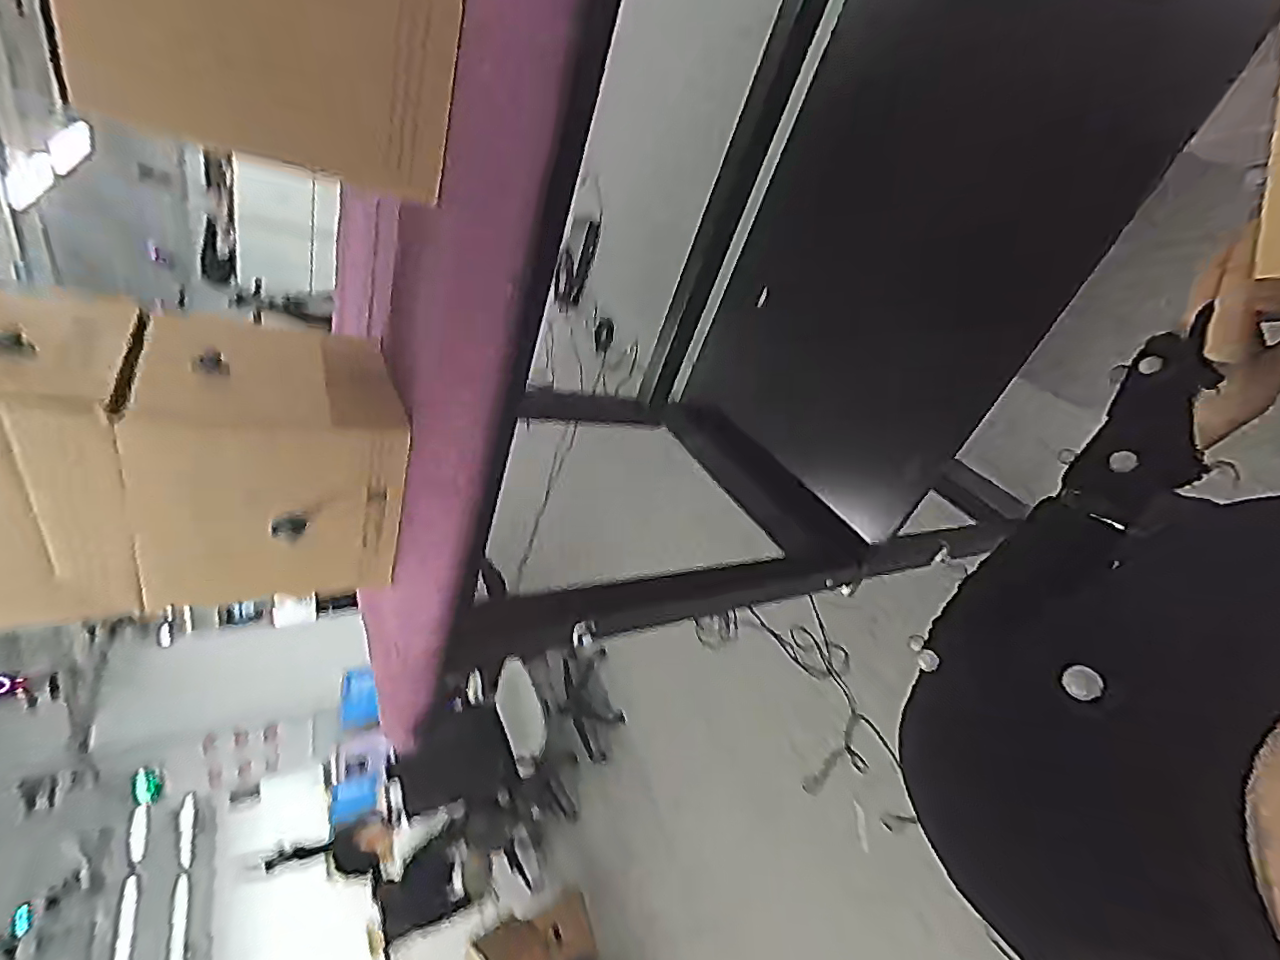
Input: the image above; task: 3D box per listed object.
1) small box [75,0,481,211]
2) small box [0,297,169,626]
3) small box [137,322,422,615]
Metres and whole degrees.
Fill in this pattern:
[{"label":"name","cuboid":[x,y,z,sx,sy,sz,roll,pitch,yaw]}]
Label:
[{"label":"small box","cuboid":[-0.196,-0.282,0.310,0.168,0.176,0.179,50,132,42]},{"label":"small box","cuboid":[-0.428,-0.013,0.368,0.168,0.176,0.179,48,128,42]},{"label":"small box","cuboid":[-0.296,-0.016,0.462,0.179,0.176,0.168,50,129,42]}]
